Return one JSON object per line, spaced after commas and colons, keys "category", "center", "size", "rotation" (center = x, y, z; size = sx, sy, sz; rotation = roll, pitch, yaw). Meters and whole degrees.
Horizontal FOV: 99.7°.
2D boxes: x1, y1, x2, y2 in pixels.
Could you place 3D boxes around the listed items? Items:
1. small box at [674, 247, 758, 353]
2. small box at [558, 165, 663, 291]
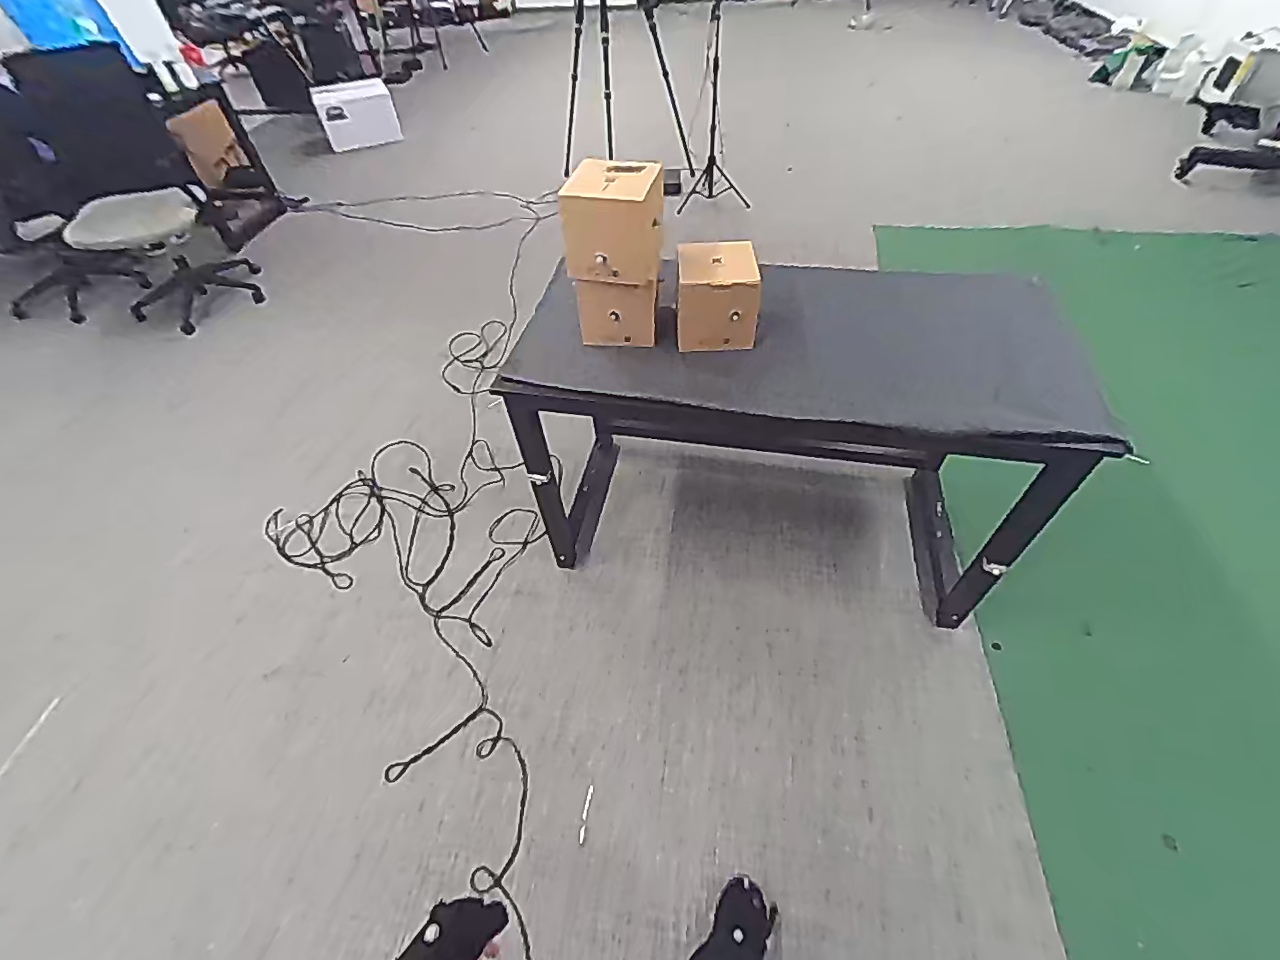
{"category": "small box", "center": [0.162, -0.396, 1.201], "size": [0.168, 0.176, 0.179], "rotation": [0, 48, 1]}
{"category": "small box", "center": [-0.052, -0.509, 1.090], "size": [0.168, 0.176, 0.179], "rotation": [9, 51, 10]}
